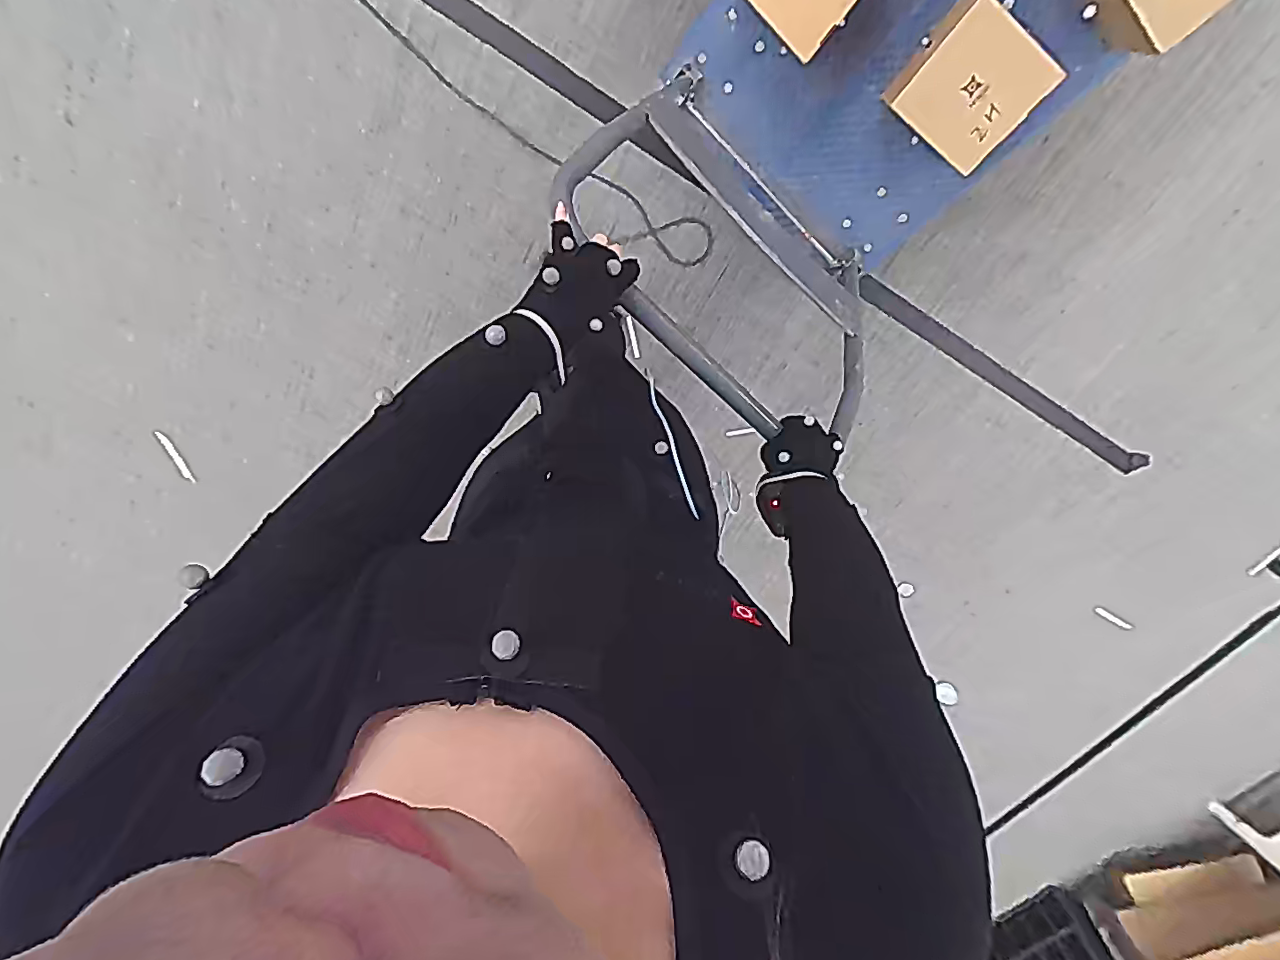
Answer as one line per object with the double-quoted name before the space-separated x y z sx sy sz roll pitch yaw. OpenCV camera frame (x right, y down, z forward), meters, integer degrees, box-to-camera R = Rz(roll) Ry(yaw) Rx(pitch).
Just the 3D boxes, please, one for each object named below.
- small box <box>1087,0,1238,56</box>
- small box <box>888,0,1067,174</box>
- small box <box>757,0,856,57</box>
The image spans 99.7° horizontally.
"small box" 0.739 -0.726 0.730 0.168 0.176 0.179 40 131 -16
"small box" 0.528 -0.640 0.875 0.179 0.176 0.168 35 131 -12
"small box" 0.263 -0.798 0.830 0.179 0.176 0.168 37 131 -16
